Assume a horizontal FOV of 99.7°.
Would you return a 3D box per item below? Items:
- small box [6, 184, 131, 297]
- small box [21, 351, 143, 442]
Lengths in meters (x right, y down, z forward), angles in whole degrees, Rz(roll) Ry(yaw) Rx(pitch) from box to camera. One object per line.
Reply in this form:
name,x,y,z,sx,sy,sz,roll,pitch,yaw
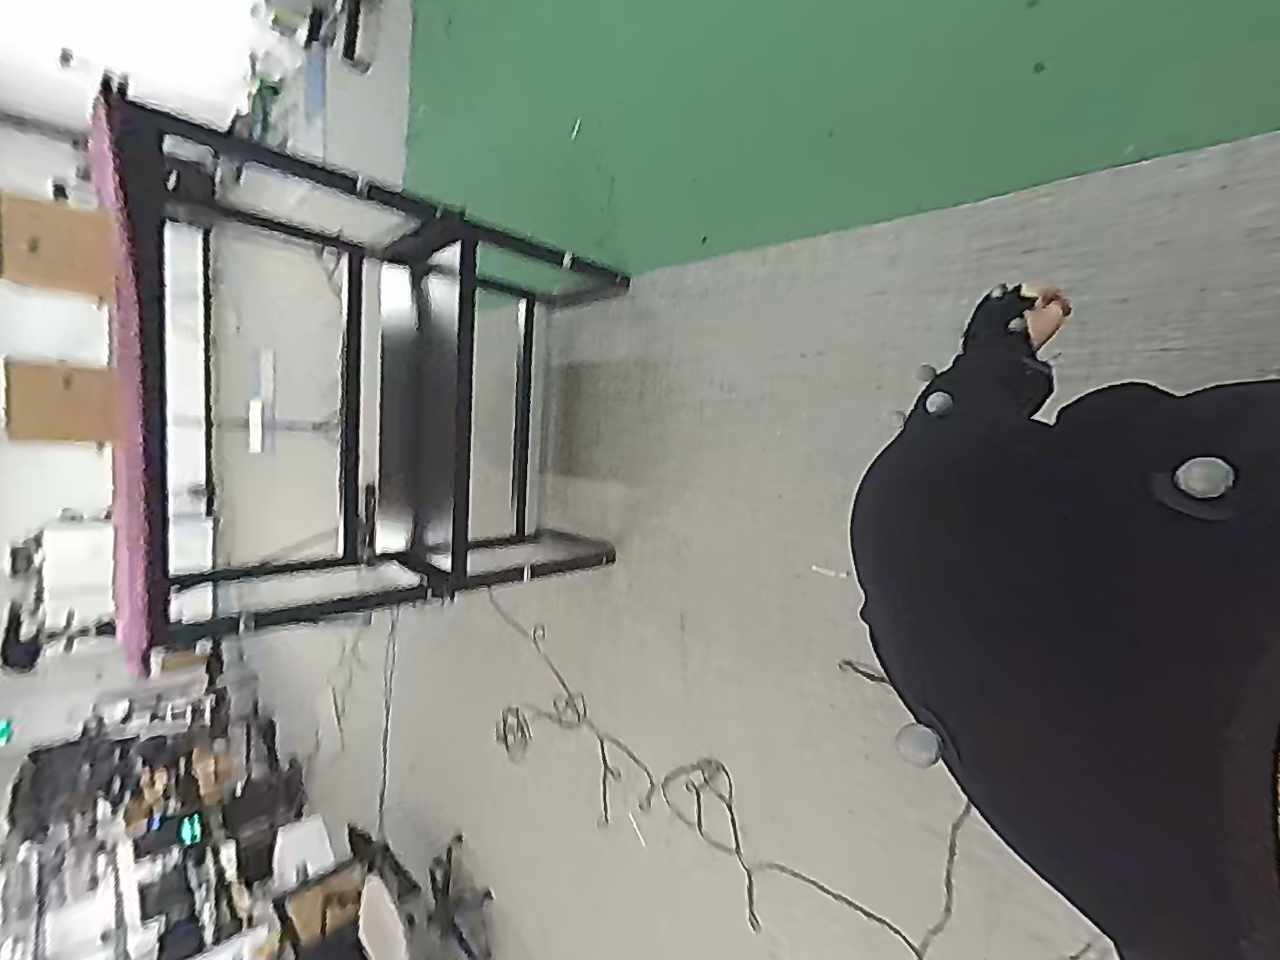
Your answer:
small box,-1.207,-0.496,1.155,0.168,0.176,0.179,10,99,46
small box,-1.200,-0.173,1.168,0.168,0.176,0.179,6,97,45
